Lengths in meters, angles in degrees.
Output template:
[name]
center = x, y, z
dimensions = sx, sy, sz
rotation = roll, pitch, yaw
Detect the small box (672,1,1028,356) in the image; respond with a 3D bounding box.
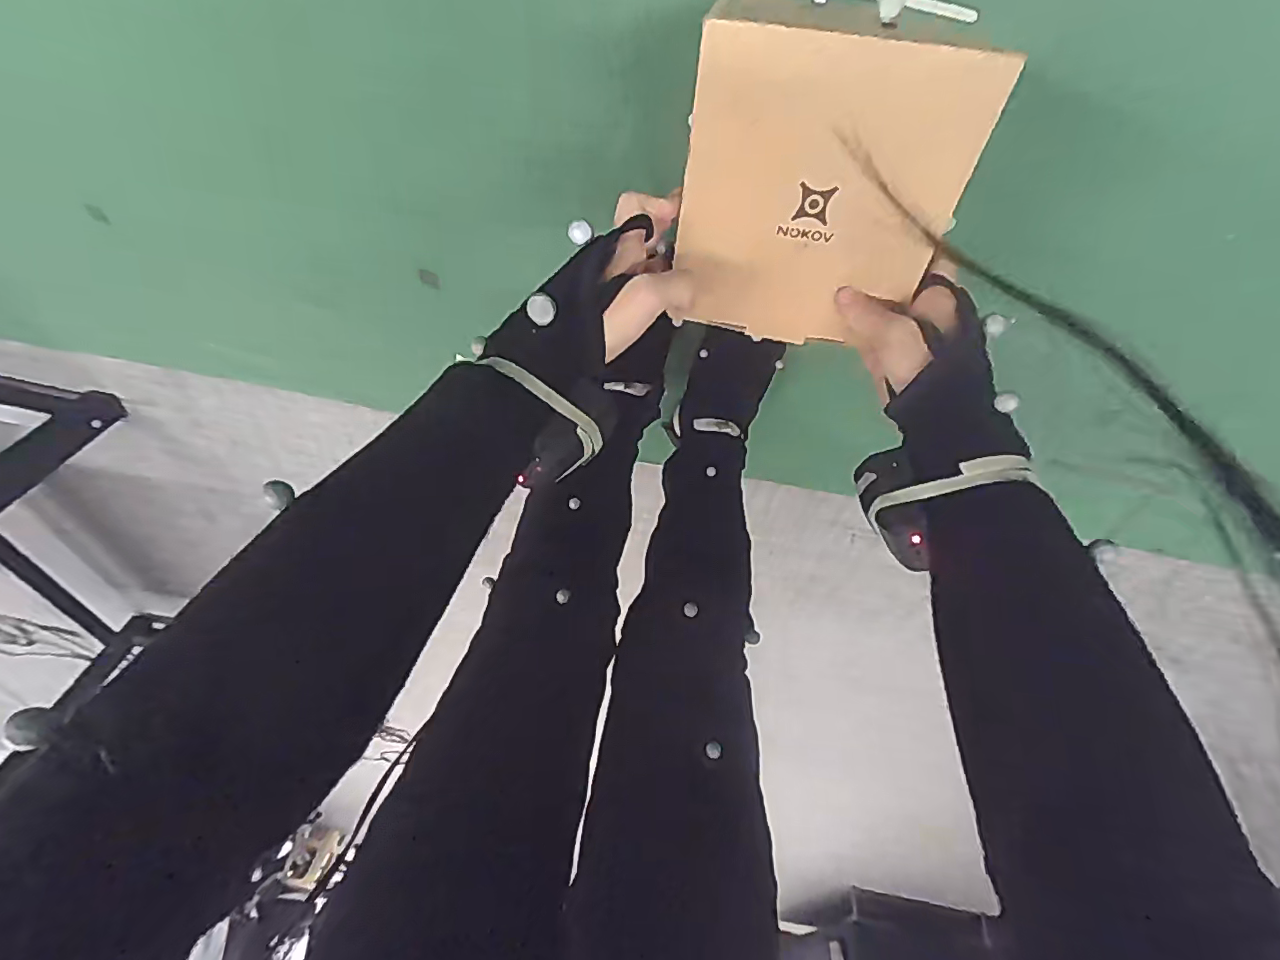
[small box]
center = 0.124, -0.221, 0.393
dimensions = 0.168, 0.176, 0.179
rotation = 11, 136, 4
